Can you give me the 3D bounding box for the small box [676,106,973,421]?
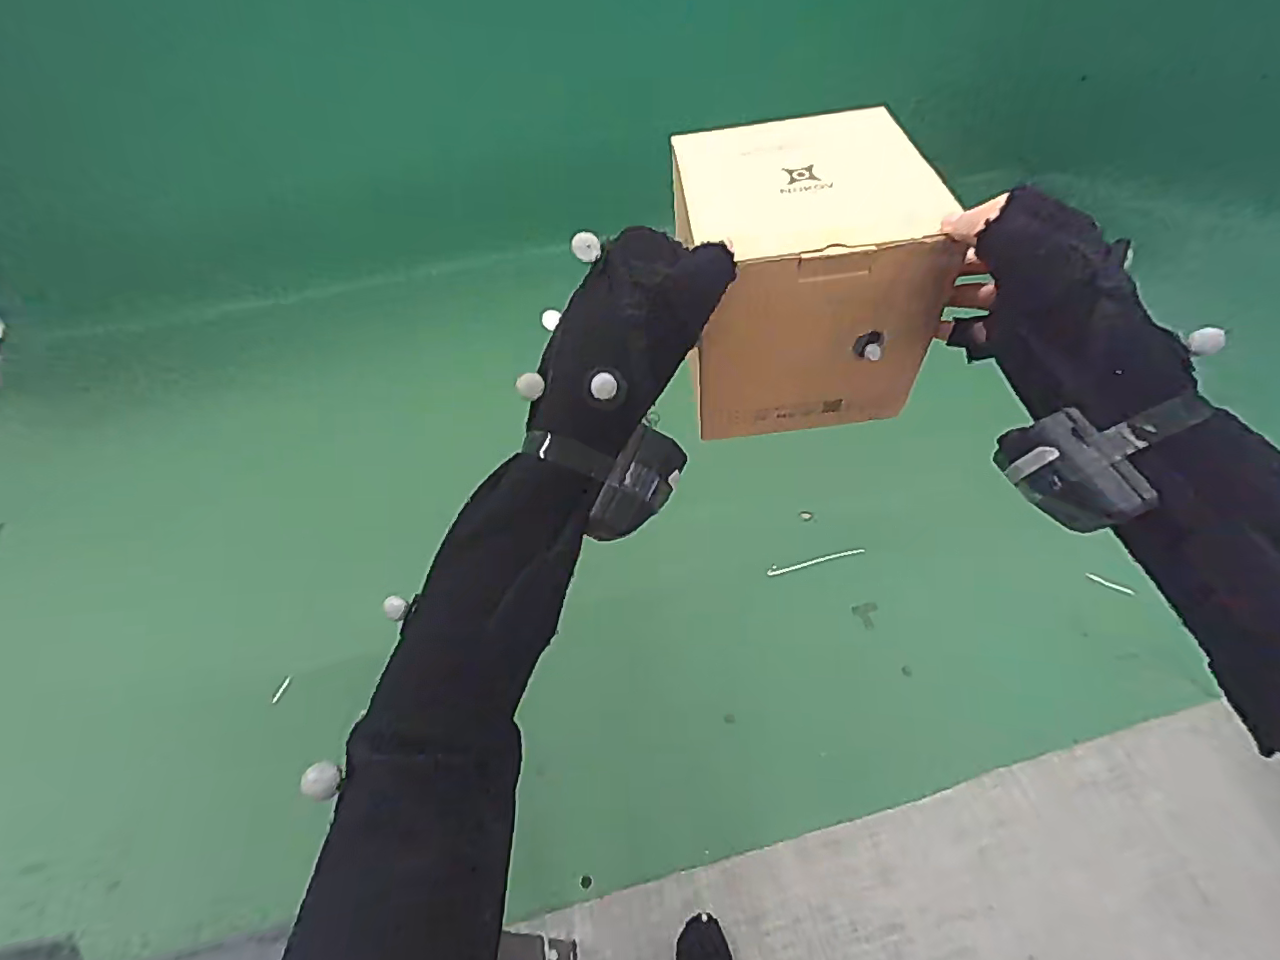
[{"bbox_3d":[0.121,-0.161,0.435,0.168,0.176,0.179,-6,55,2],"label":"small box"}]
